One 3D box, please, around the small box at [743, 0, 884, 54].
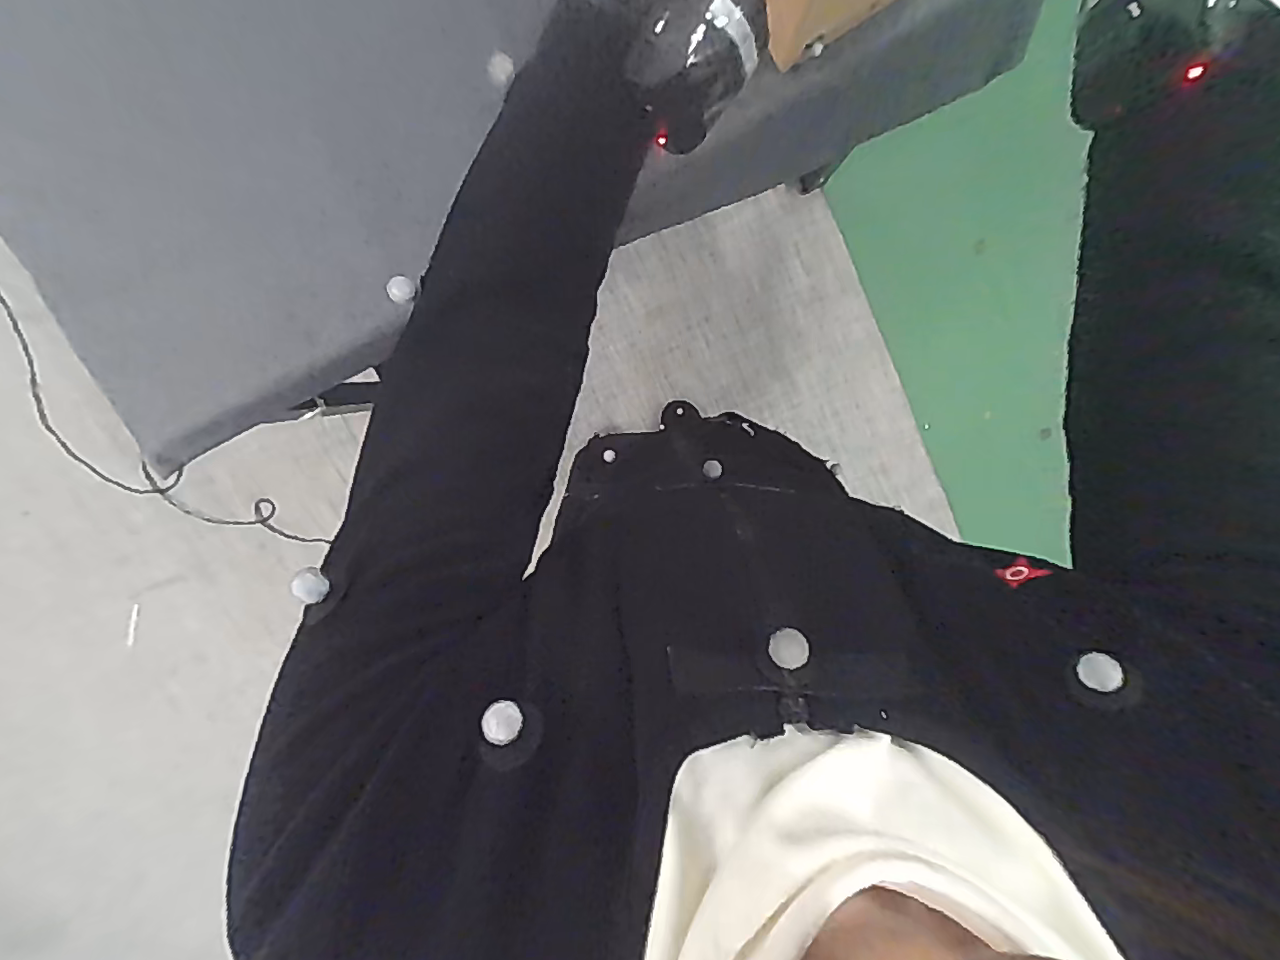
[{"bbox_3d":[0.179,-0.557,0.510,0.168,0.176,0.179,-30,97,8],"label":"small box"}]
